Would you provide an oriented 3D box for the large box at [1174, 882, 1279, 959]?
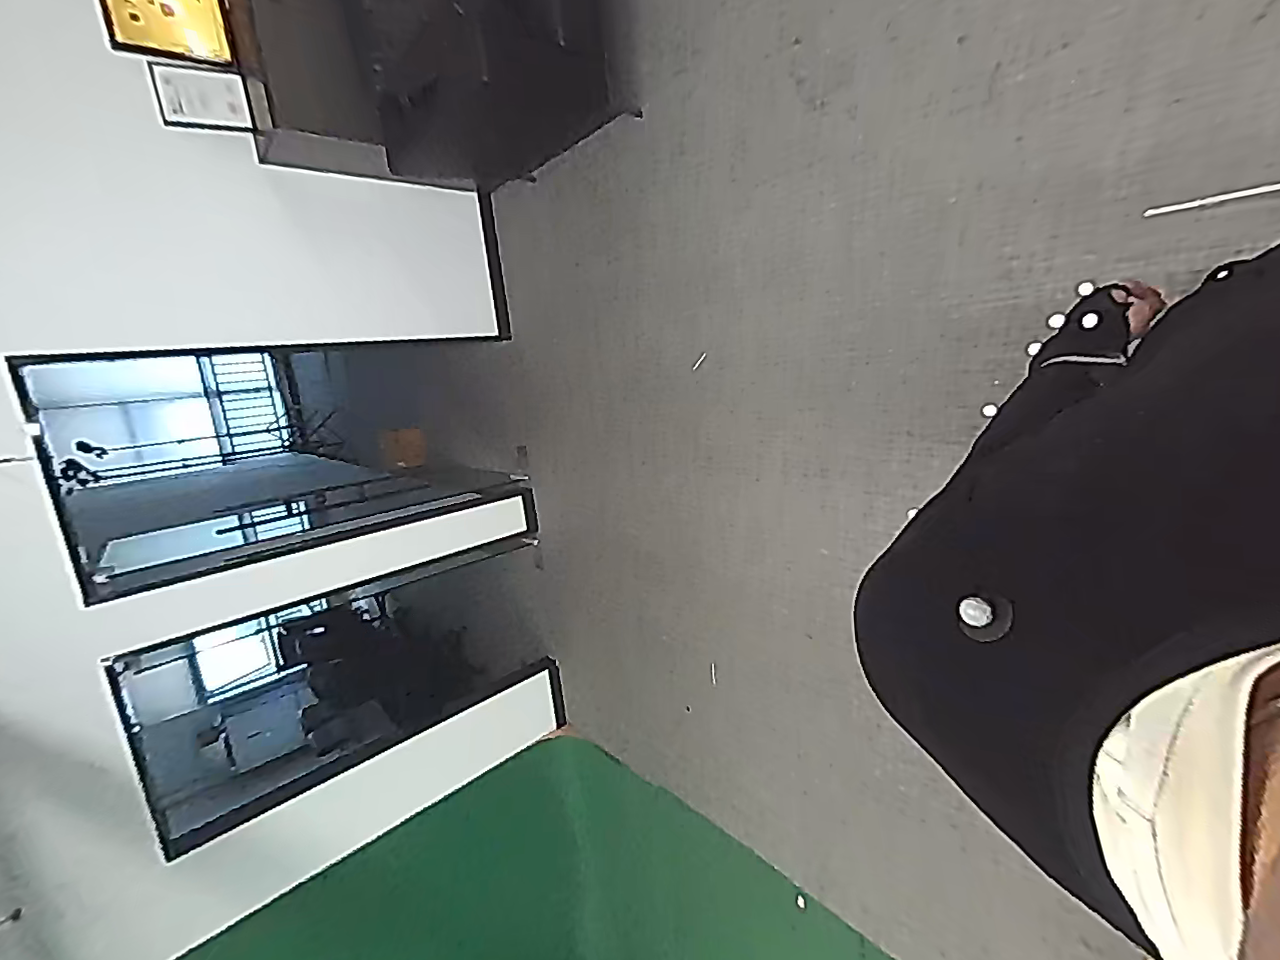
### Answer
[{"bbox_3d":[1.391,1.169,1.113,0.408,0.320,0.320,5,104,50],"label":"large box"}]
